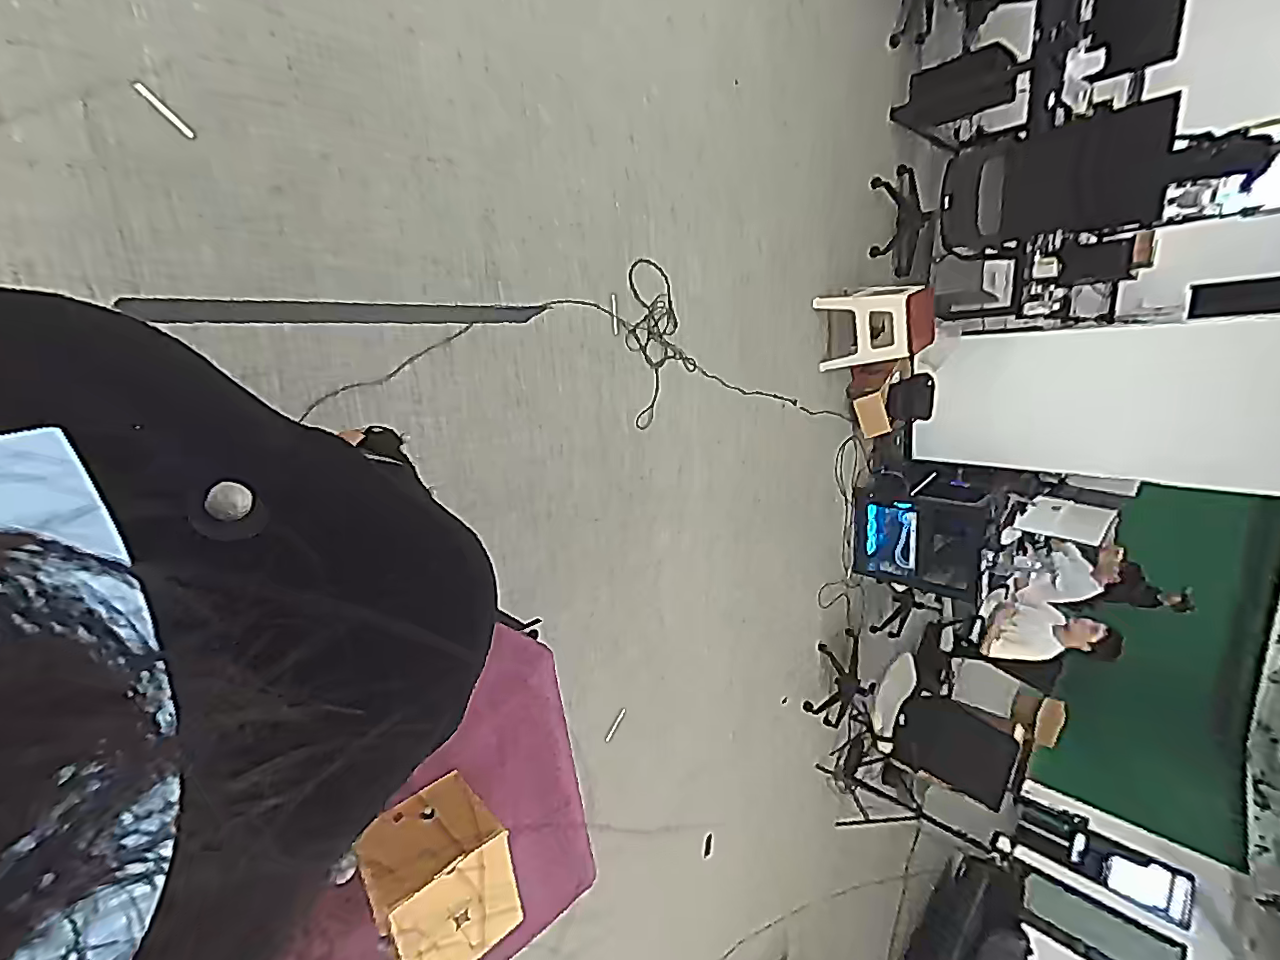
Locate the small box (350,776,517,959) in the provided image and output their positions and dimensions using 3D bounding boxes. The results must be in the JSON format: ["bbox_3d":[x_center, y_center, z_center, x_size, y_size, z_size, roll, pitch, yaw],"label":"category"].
[{"bbox_3d":[-0.308,0.592,0.806,0.168,0.176,0.179,-19,109,-40],"label":"small box"}]
